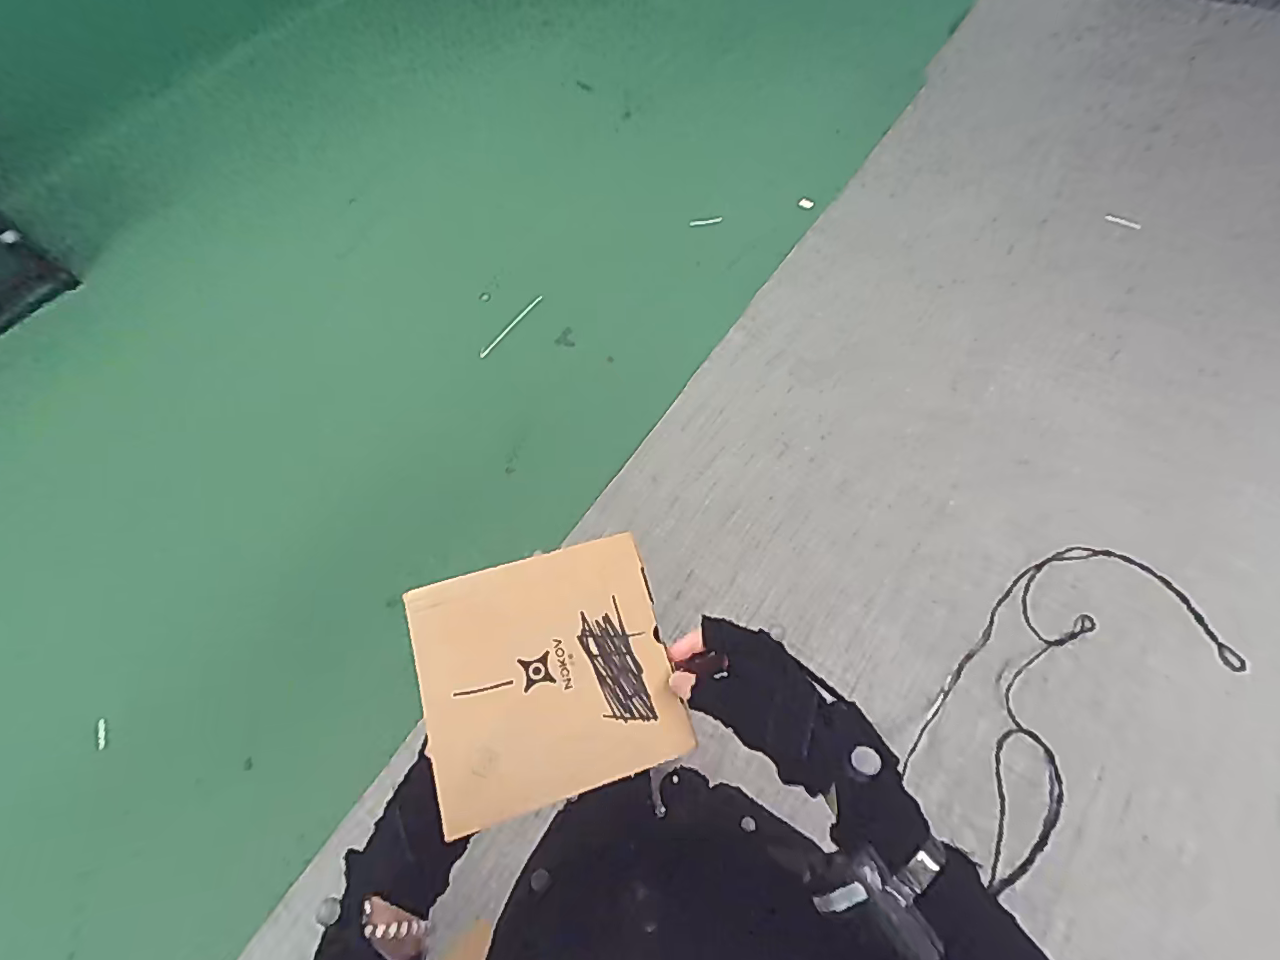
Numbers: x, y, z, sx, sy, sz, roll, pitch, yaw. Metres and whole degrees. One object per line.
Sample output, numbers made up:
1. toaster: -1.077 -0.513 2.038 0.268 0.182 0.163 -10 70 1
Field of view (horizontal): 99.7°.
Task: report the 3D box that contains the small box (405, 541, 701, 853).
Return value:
1. small box: -0.071 0.164 0.447 0.179 0.176 0.168 -14 72 -11
